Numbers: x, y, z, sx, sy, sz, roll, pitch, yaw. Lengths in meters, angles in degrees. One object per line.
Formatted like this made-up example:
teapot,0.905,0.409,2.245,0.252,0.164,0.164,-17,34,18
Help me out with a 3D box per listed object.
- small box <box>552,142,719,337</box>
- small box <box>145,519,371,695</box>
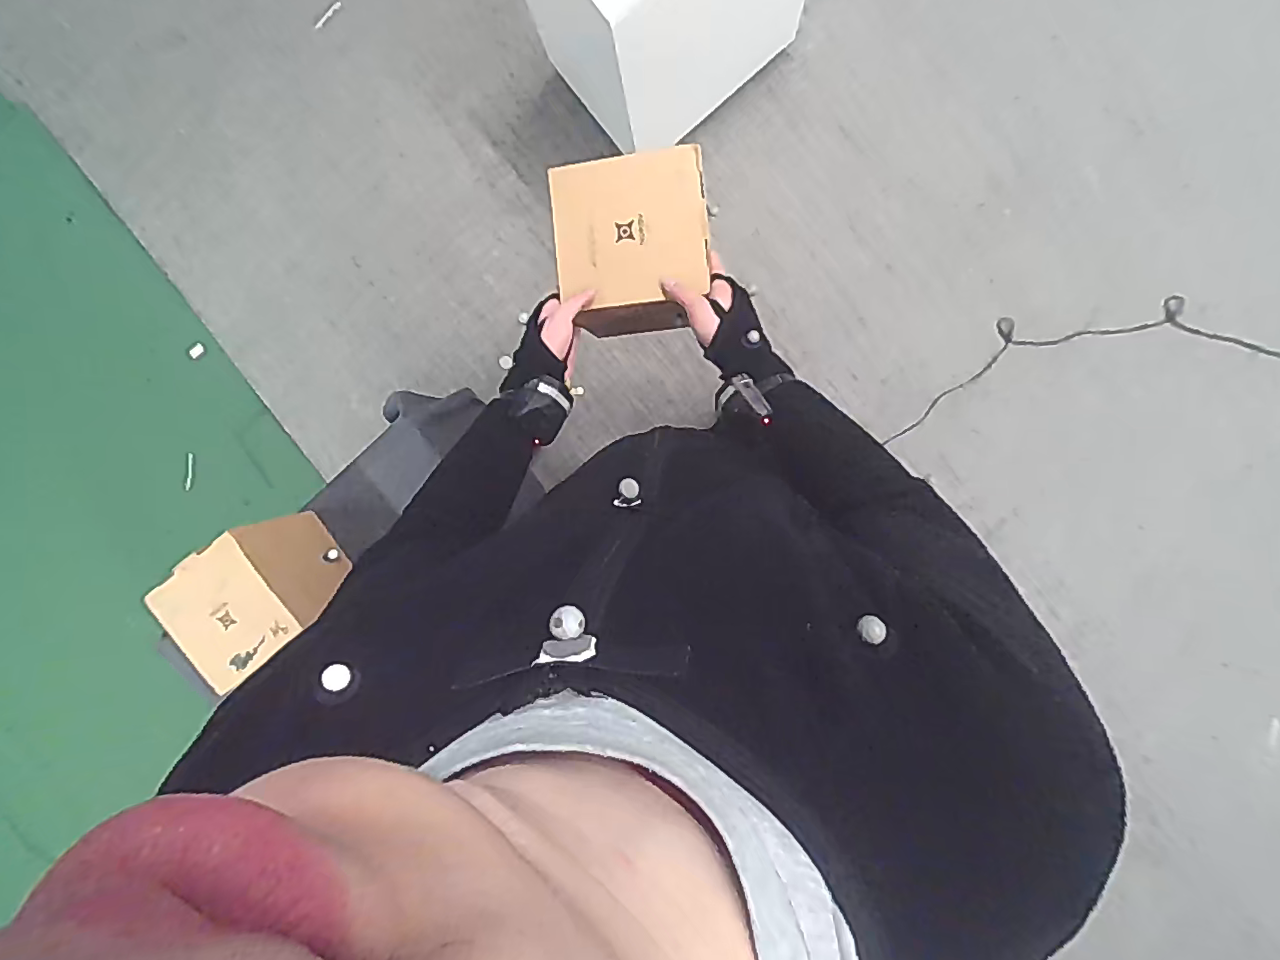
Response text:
small box,0.006,-0.284,0.677,0.179,0.176,0.168,-5,93,10
small box,-0.551,0.172,0.805,0.168,0.176,0.179,-36,92,7
